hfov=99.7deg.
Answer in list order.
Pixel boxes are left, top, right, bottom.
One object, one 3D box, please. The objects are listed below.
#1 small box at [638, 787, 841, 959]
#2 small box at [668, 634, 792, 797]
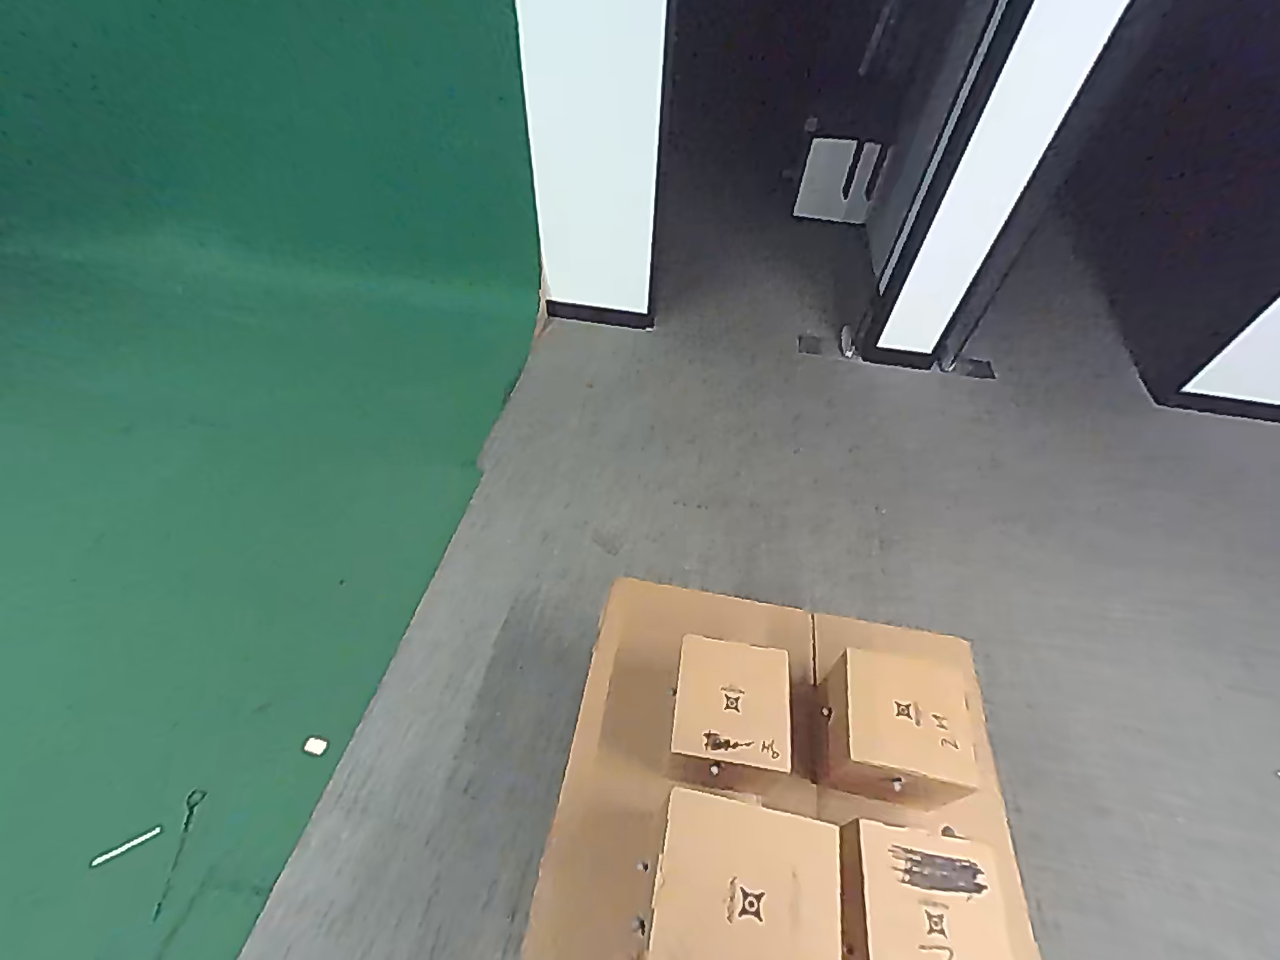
[{"bbox_3d":[0.098,0.446,0.566,0.179,0.176,0.168,11,52,6],"label":"small box"},{"bbox_3d":[0.135,0.368,0.842,0.168,0.176,0.179,7,49,6],"label":"small box"}]
